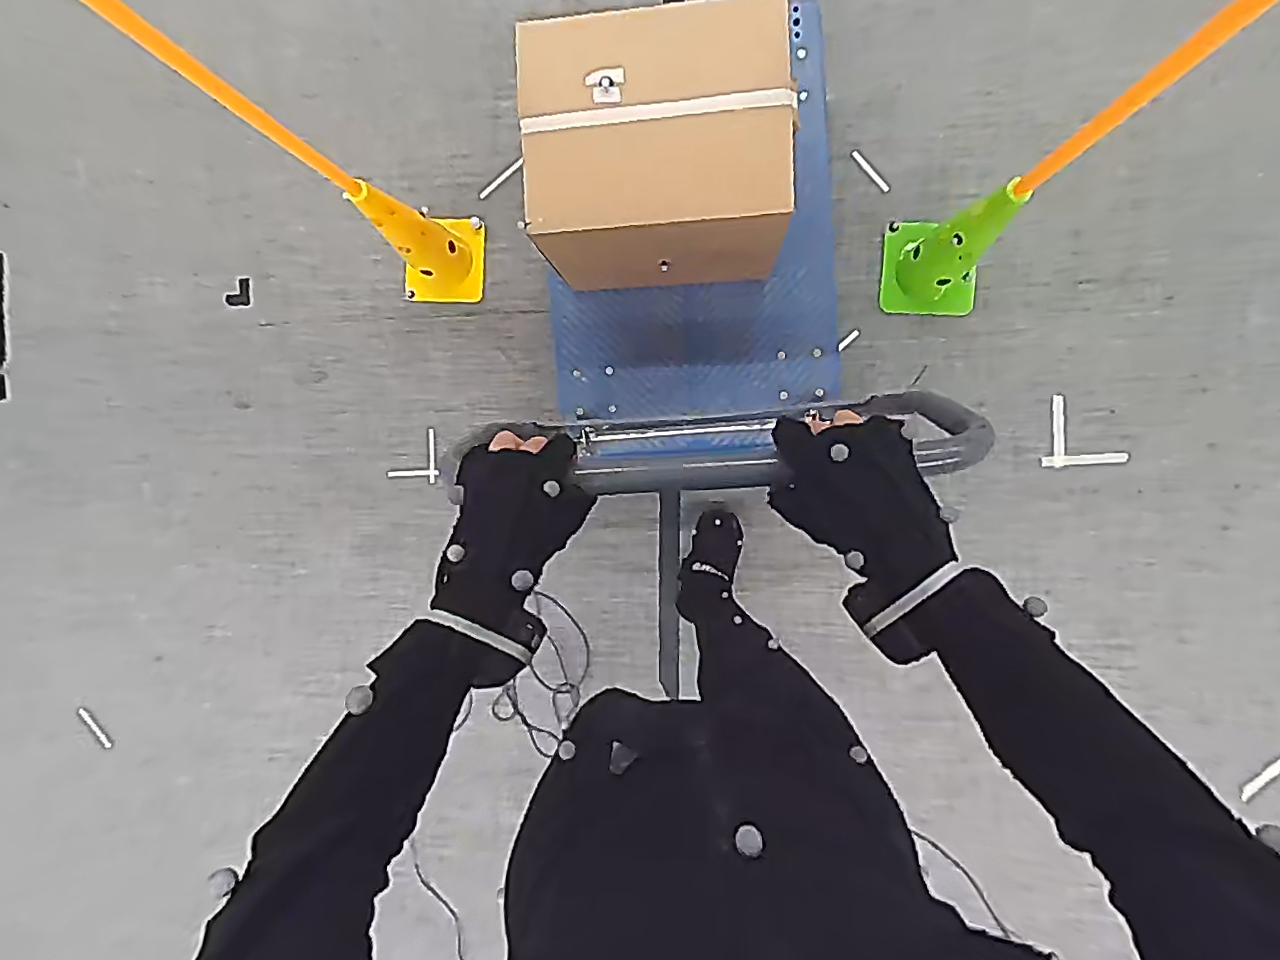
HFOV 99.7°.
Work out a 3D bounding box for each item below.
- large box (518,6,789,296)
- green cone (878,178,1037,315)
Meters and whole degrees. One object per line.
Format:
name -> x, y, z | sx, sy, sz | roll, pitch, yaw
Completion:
large box -> 0.036, -0.535, 0.961 | 0.408, 0.320, 0.320 | -2, 93, 7
green cone -> 0.624, -0.464, 1.038 | 0.202, 0.368, 0.200 | 3, 93, 5
